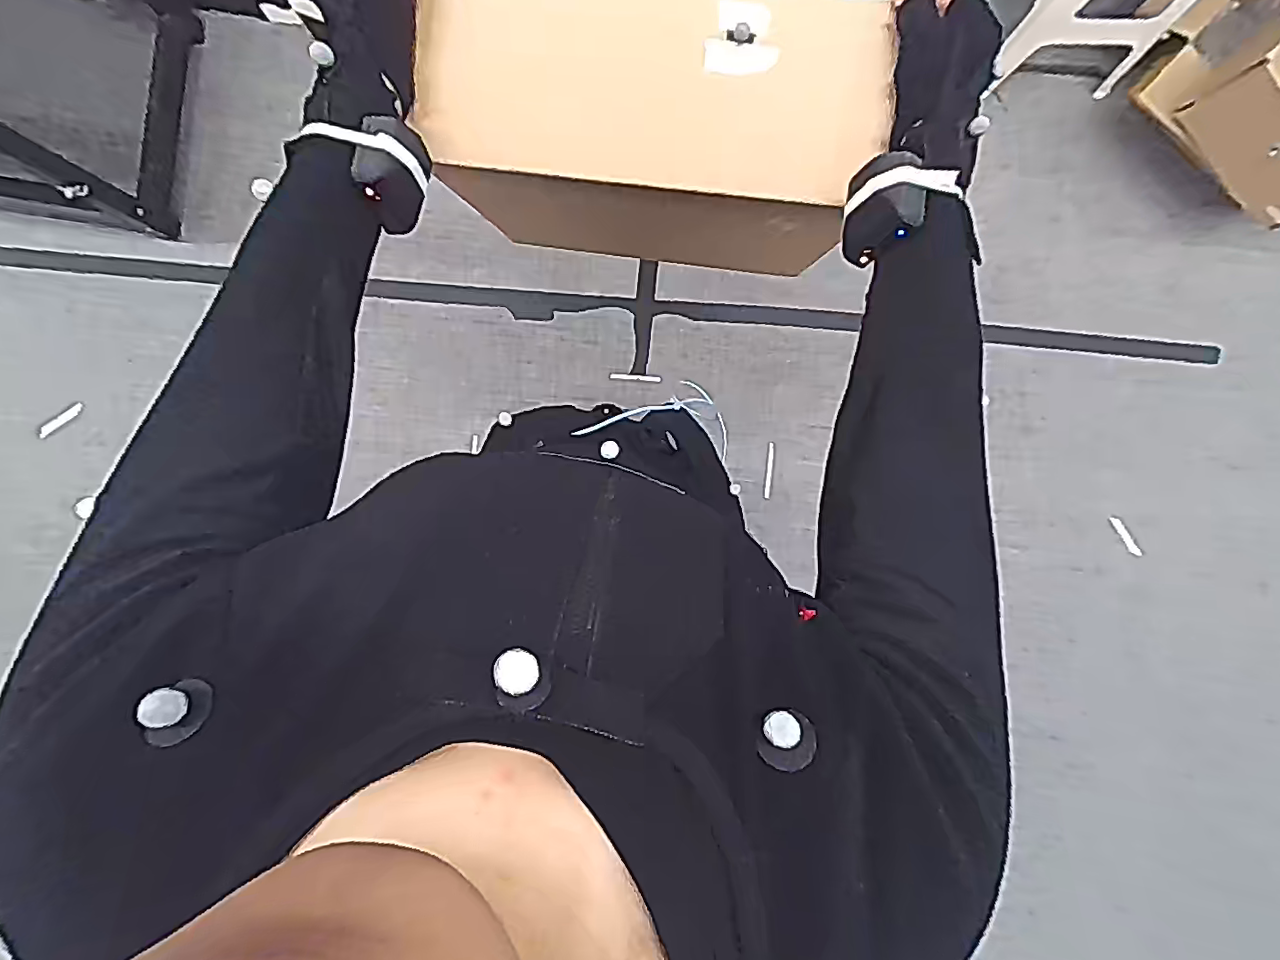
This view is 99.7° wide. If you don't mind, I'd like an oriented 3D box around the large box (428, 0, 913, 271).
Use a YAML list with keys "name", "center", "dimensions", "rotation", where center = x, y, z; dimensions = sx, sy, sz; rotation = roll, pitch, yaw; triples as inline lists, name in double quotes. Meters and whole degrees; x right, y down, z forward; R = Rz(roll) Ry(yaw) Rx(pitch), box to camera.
- name: "large box"
  center: [0.030, -0.434, 0.589]
  dimensions: [0.408, 0.320, 0.320]
  rotation: [7, 102, 1]
